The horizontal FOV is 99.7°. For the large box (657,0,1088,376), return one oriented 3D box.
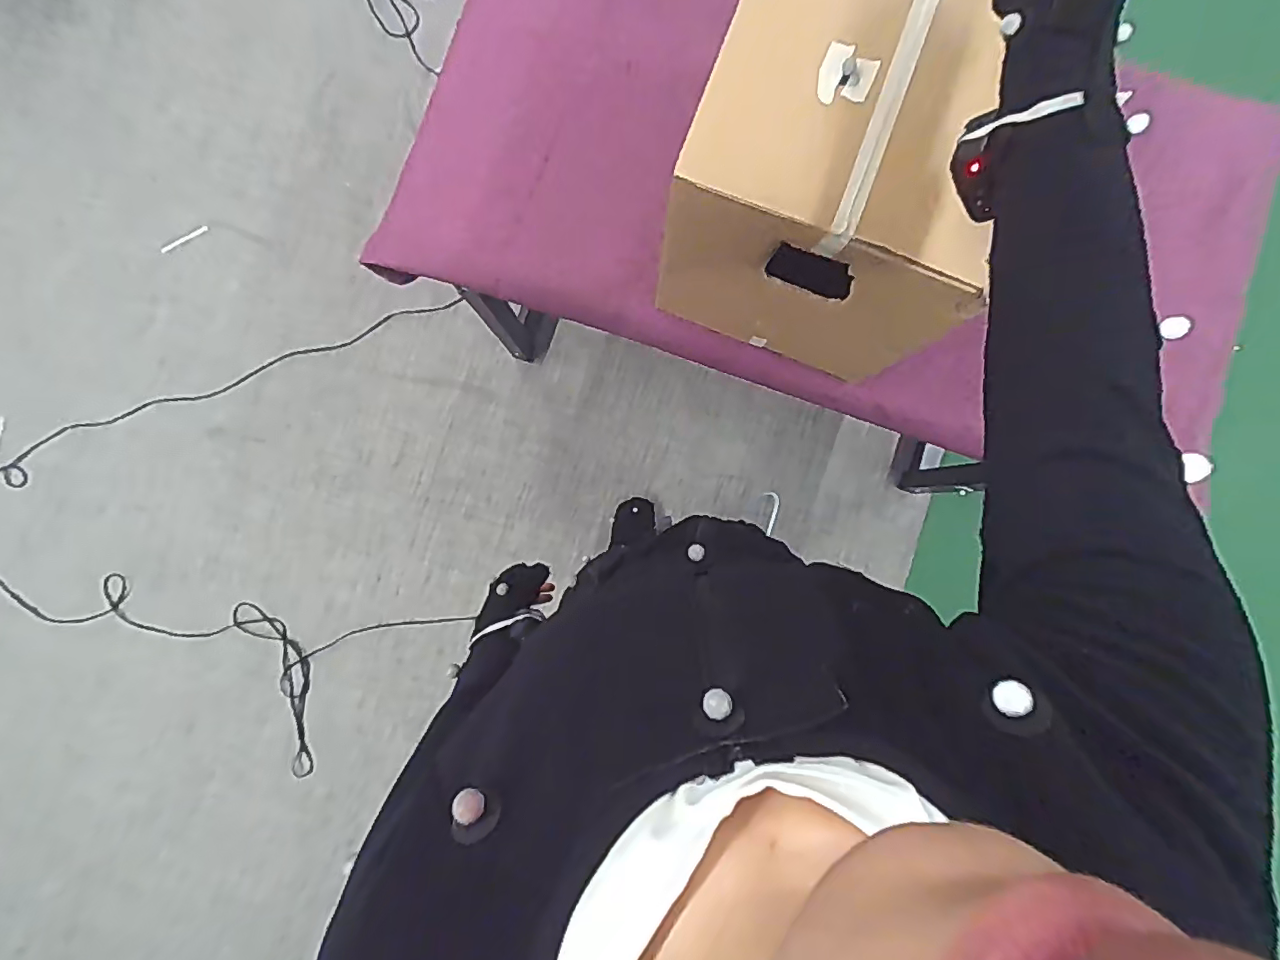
[{"bbox_3d":[0.236,-0.393,0.652,0.320,0.320,0.408,21,87,0],"label":"large box"}]
